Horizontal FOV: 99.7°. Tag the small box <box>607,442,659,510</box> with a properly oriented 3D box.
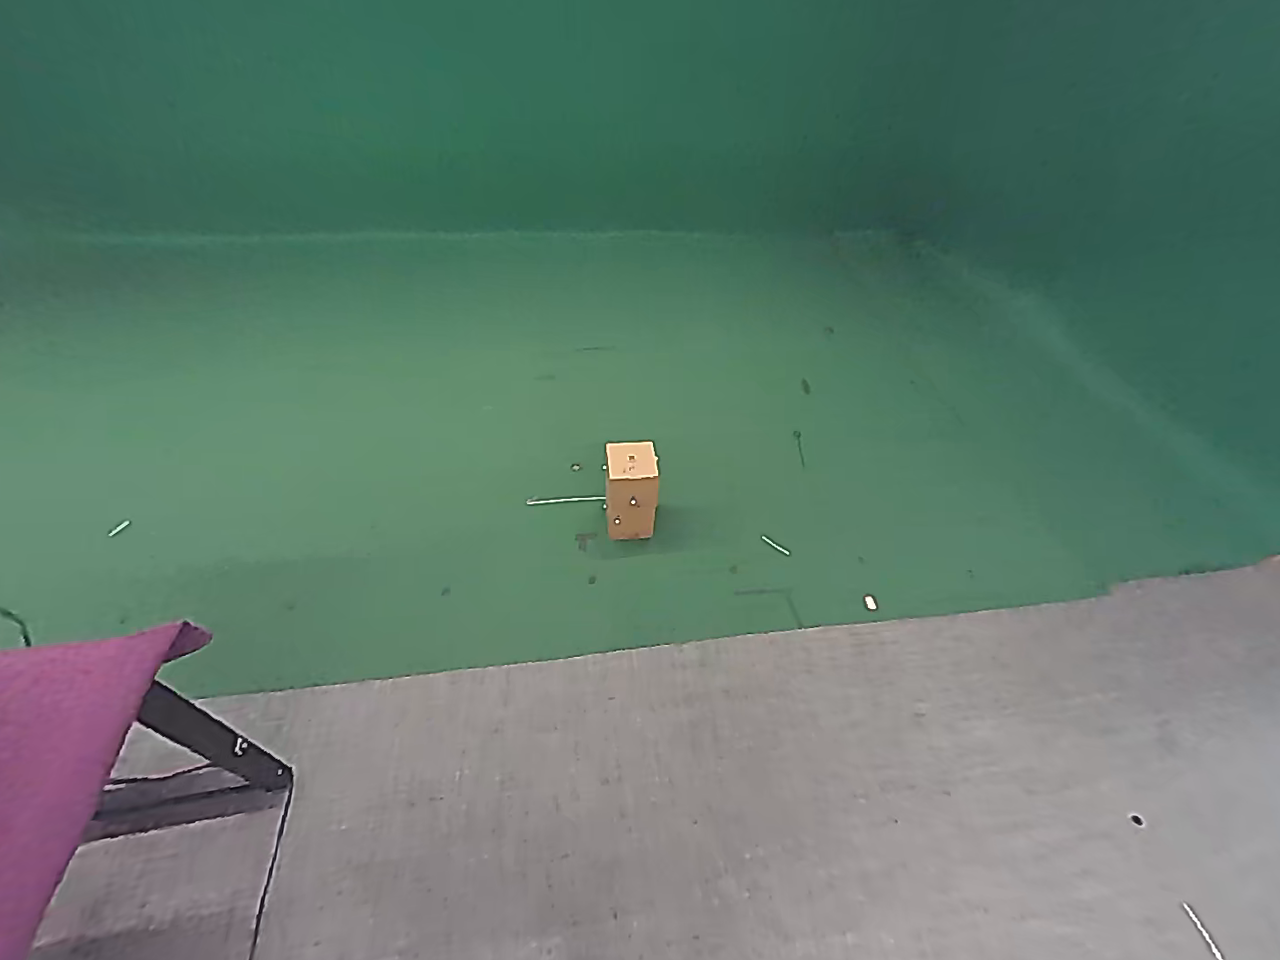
[{"bbox_3d":[-0.030,-0.012,1.895,0.168,0.176,0.179,-3,47,-6],"label":"small box"}]
